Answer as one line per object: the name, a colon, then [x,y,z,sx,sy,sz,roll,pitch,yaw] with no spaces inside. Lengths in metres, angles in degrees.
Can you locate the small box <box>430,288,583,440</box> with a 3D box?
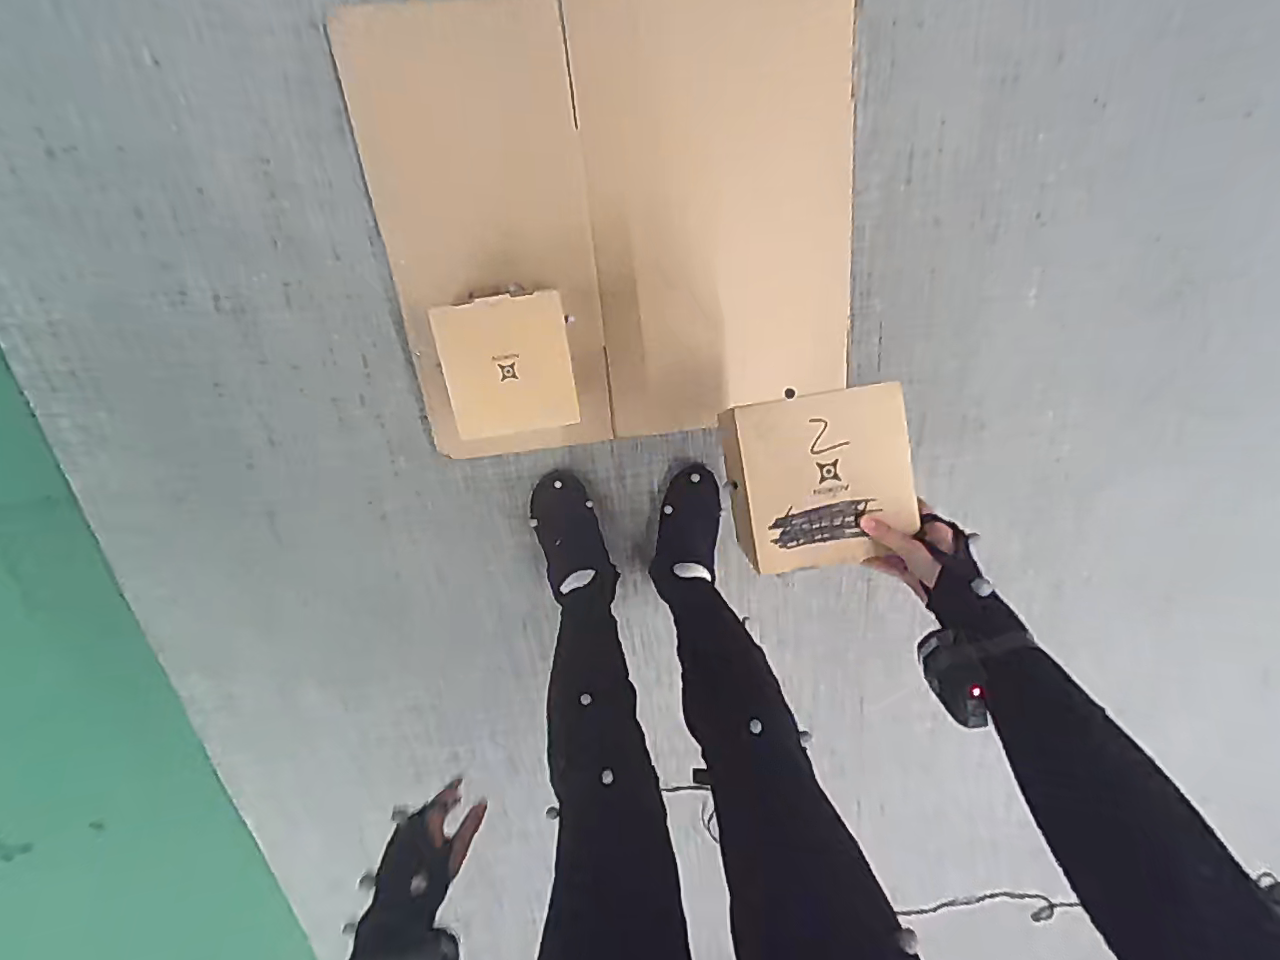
small box: [-0.174,-0.171,0.766,0.168,0.176,0.179,-9,110,-3]
